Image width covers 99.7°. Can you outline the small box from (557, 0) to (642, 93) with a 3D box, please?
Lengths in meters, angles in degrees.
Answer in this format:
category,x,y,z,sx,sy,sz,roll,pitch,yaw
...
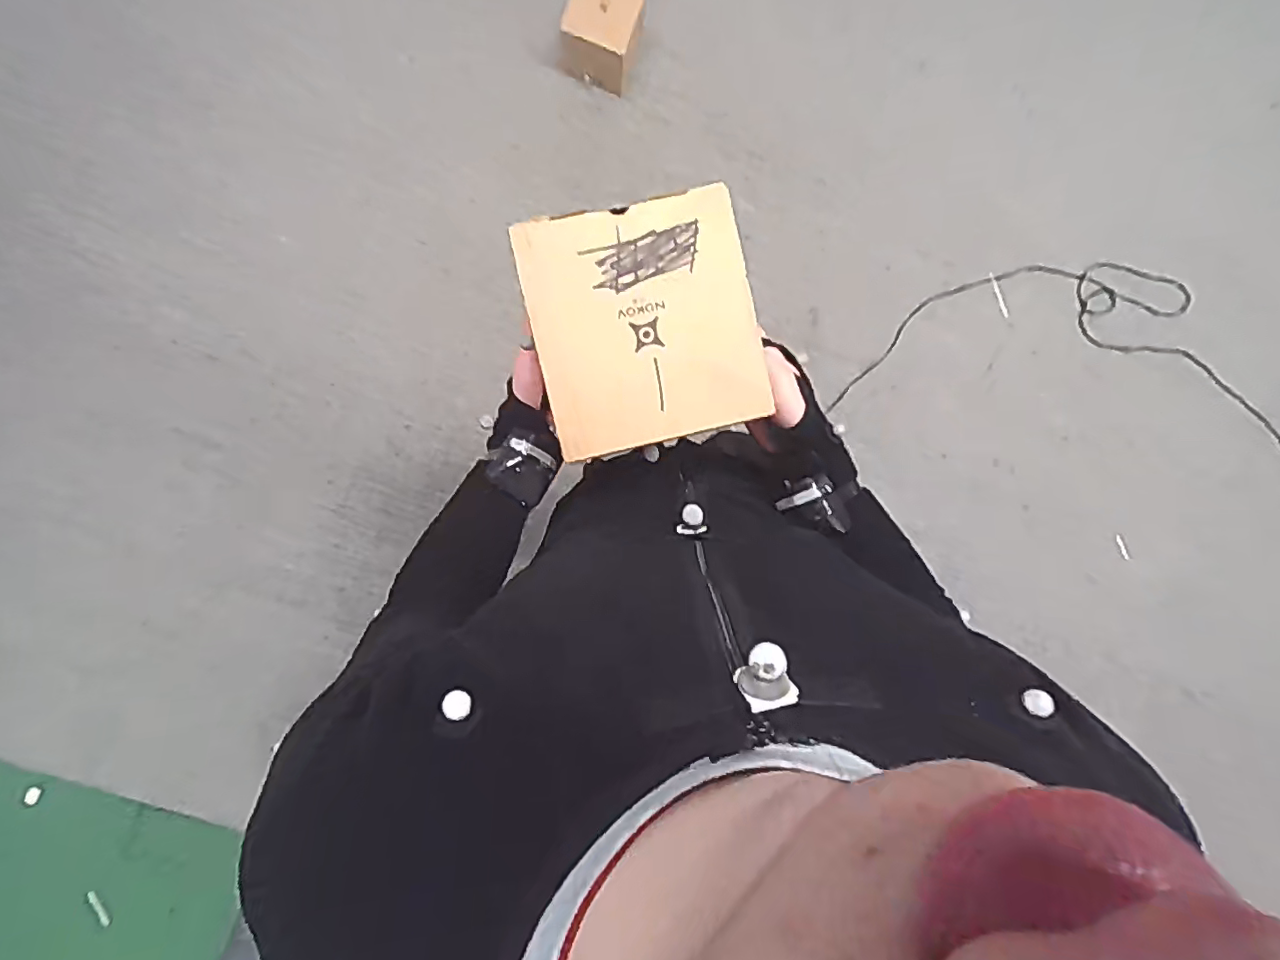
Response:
category,x,y,z,sx,sy,sz,roll,pitch,yaw
small box,-0.099,-1.128,1.349,0.168,0.176,0.179,19,95,-6

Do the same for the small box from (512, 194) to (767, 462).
category,x,y,z,sx,sy,sz,roll,pitch,yaw
small box,-0.006,-0.117,0.480,0.168,0.176,0.179,-13,95,-4
